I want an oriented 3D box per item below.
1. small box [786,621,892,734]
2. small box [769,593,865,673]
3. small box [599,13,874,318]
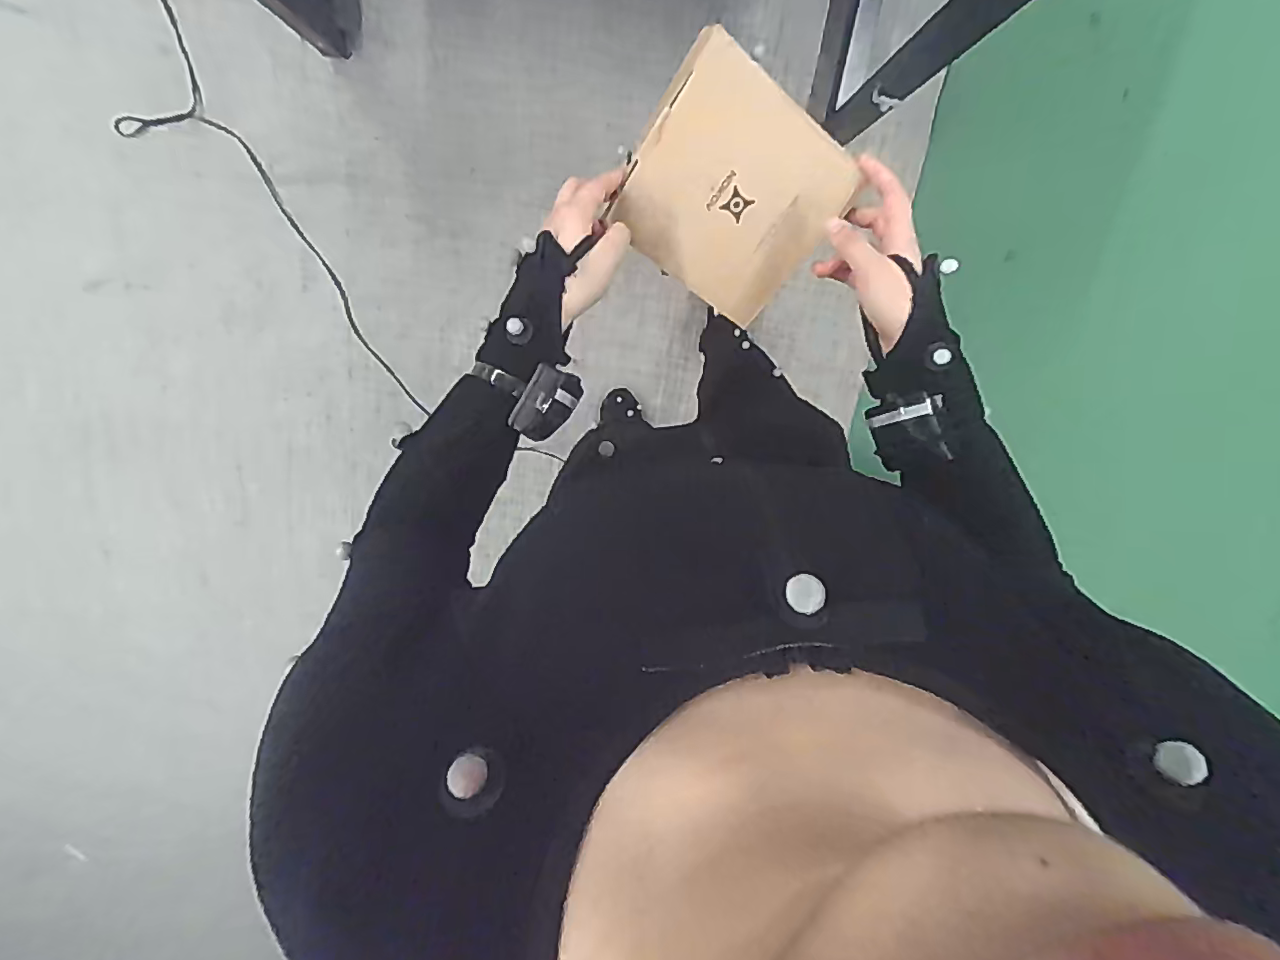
[{"bbox_3d":[0.481,0.483,1.340,0.168,0.176,0.179,17,105,-6],"label":"small box"},{"bbox_3d":[0.482,0.437,1.498,0.179,0.176,0.168,16,105,-5],"label":"small box"},{"bbox_3d":[0.080,-0.297,0.520,0.179,0.176,0.168,28,127,-21],"label":"small box"}]
